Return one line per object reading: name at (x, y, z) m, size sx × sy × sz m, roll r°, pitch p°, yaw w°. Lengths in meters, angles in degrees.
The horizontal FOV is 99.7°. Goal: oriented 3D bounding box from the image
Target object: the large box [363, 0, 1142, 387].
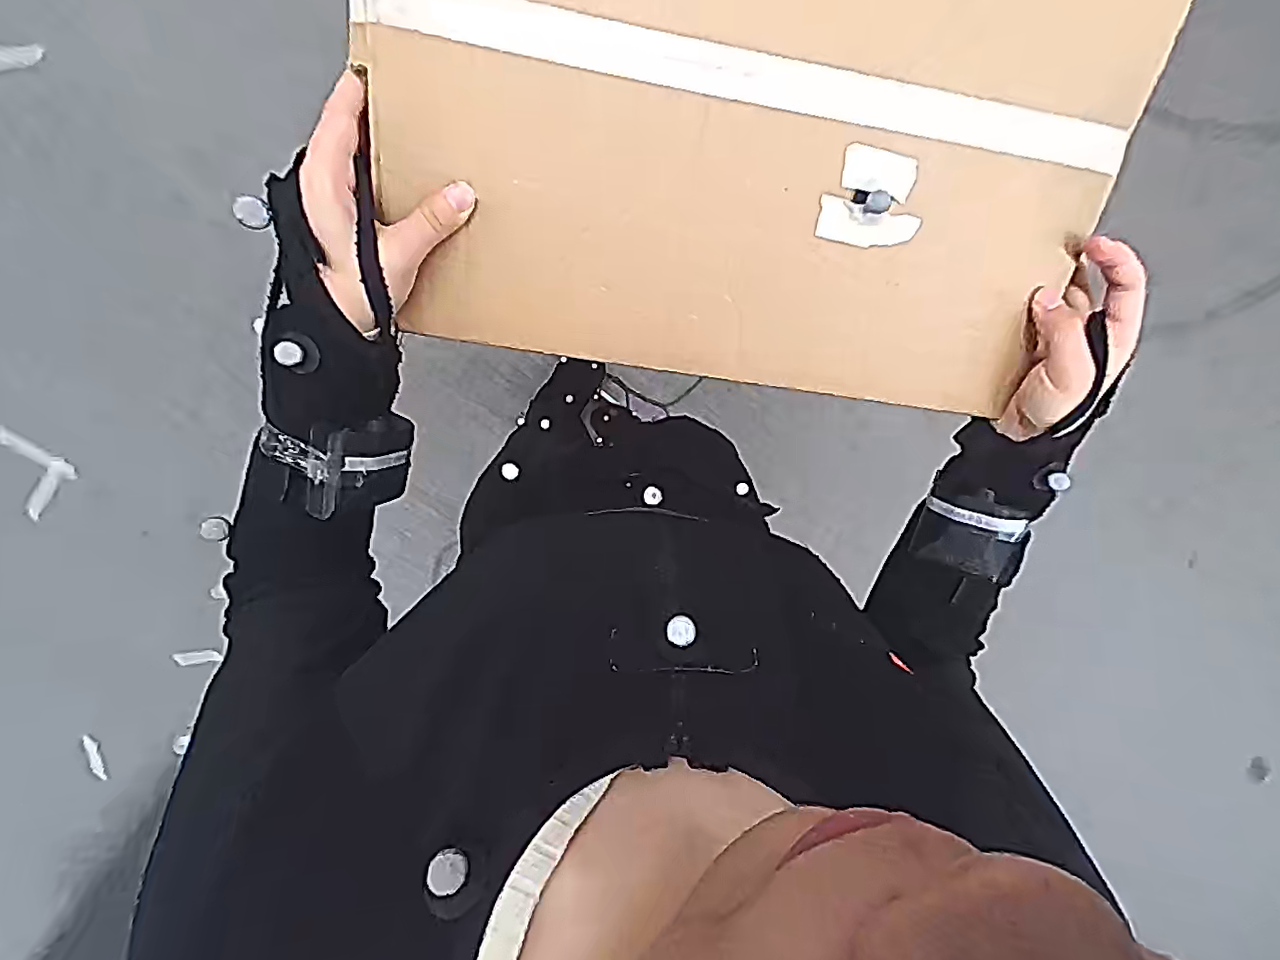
large box at (0.046, -0.277, 0.422) m, size 0.408 × 0.320 × 0.320 m, roll 5°, pitch 115°, yaw -8°
